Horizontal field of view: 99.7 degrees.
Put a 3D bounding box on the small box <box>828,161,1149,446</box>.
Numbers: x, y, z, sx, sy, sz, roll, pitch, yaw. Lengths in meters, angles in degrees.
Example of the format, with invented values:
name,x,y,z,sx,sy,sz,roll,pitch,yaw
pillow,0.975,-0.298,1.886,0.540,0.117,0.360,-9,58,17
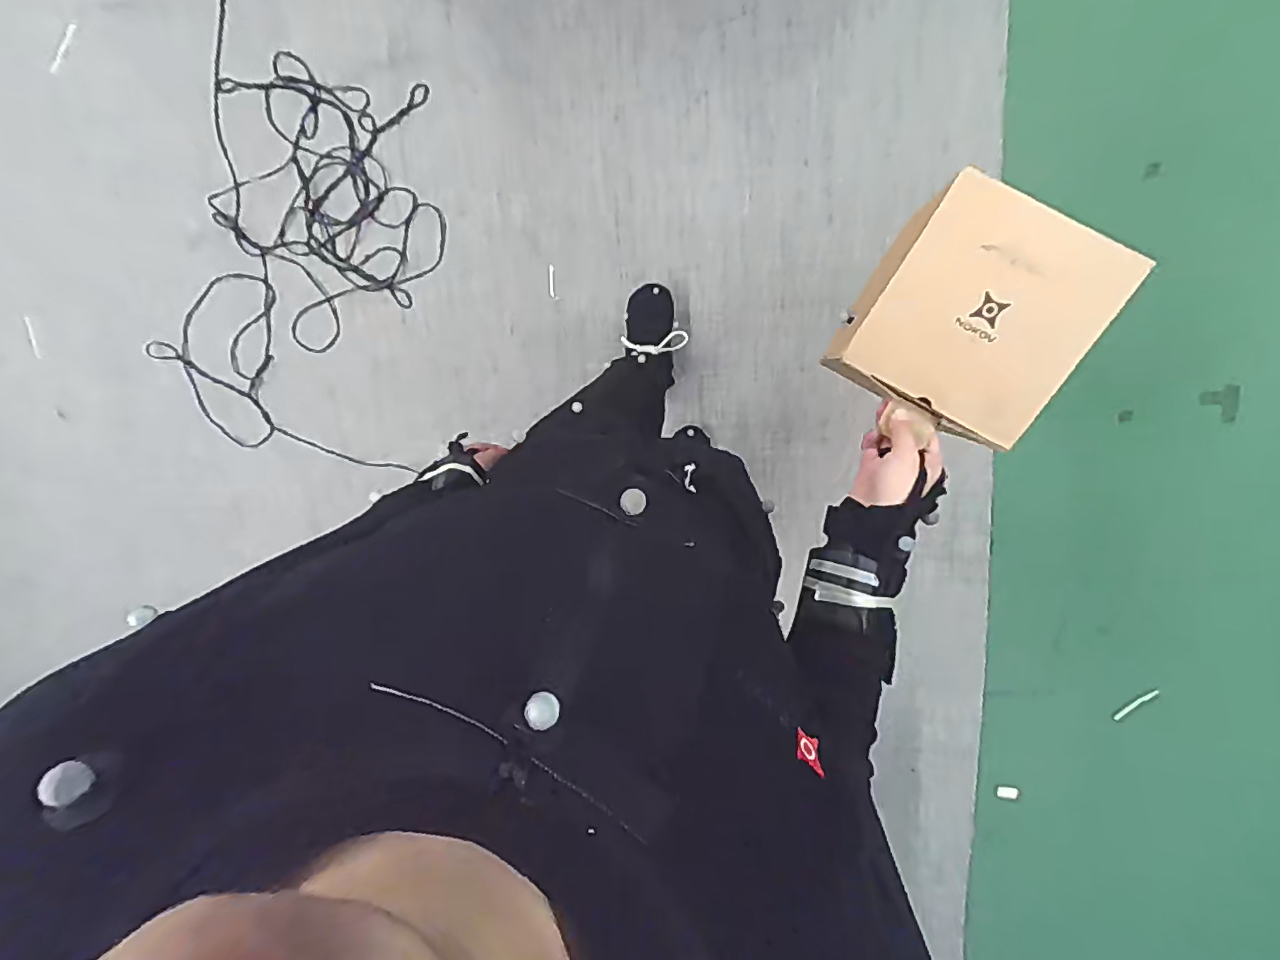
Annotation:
name,x,y,z,sx,sy,sz,roll,pitch,yaw
small box,0.301,-0.156,0.521,0.168,0.176,0.179,30,105,3
